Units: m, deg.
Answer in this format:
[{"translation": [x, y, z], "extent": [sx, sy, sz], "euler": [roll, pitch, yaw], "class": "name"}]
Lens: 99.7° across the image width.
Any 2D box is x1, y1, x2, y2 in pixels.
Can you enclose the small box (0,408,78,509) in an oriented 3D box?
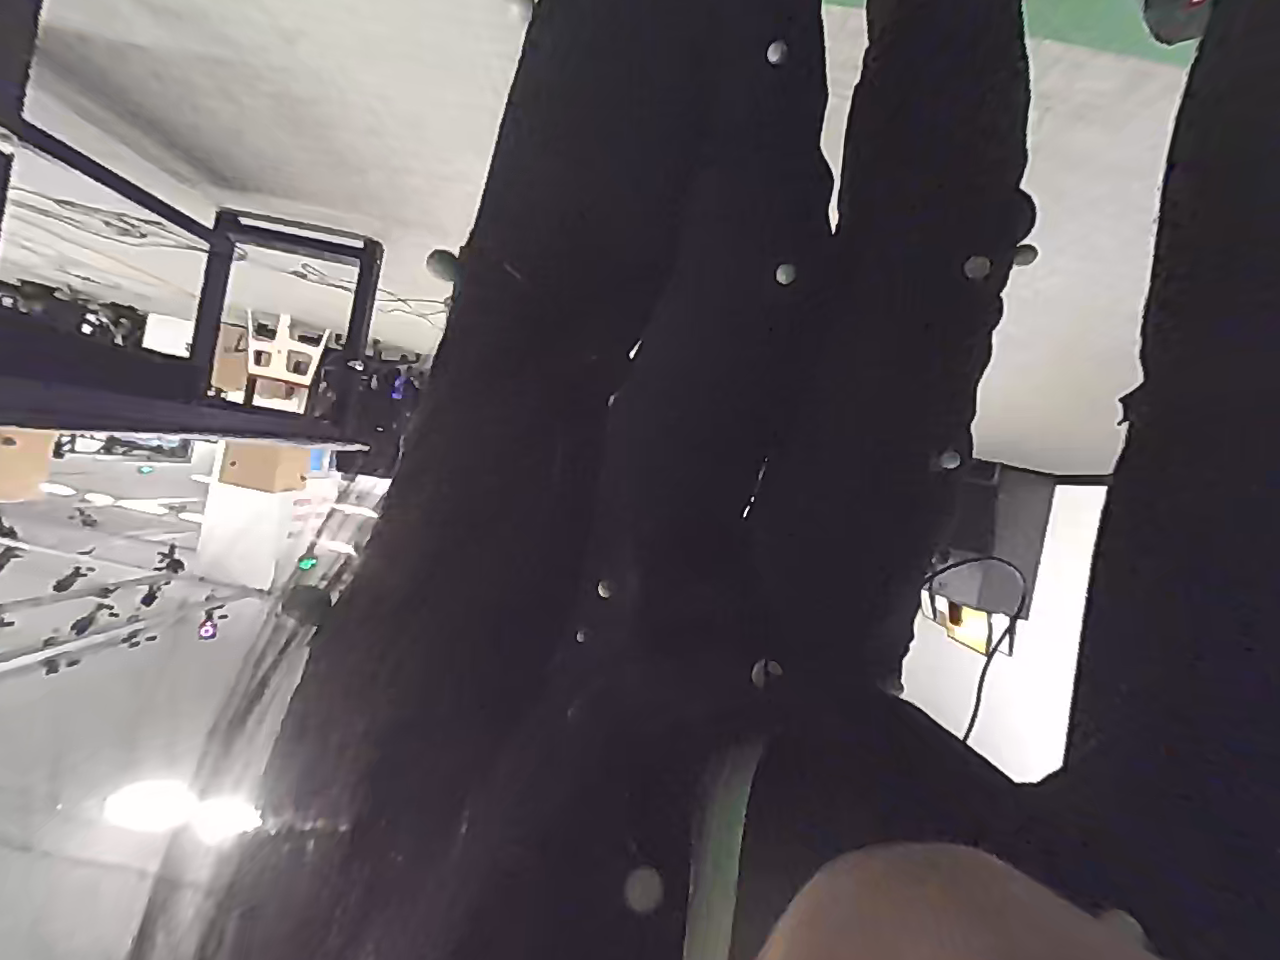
[{"translation": [-1.223, -0.047, 1.014], "extent": [0.179, 0.176, 0.168], "euler": [12, -179, 2], "class": "small box"}]
